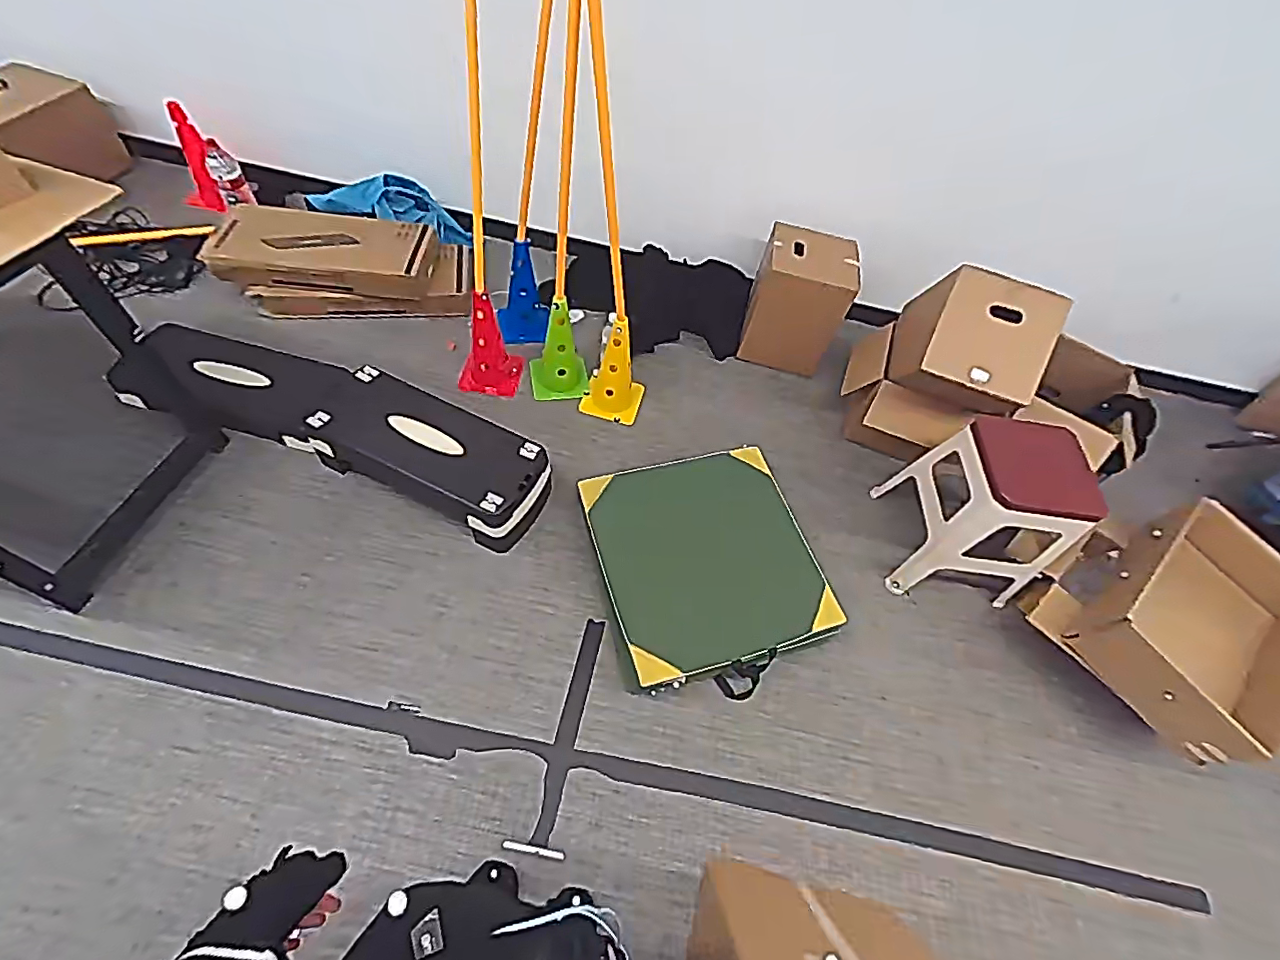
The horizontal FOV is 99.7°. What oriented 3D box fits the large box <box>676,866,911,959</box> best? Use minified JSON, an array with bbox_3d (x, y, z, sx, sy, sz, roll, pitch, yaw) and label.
[{"bbox_3d":[0.204,0.760,0.649,0.320,0.408,0.320,14,75,2],"label":"large box"}]
